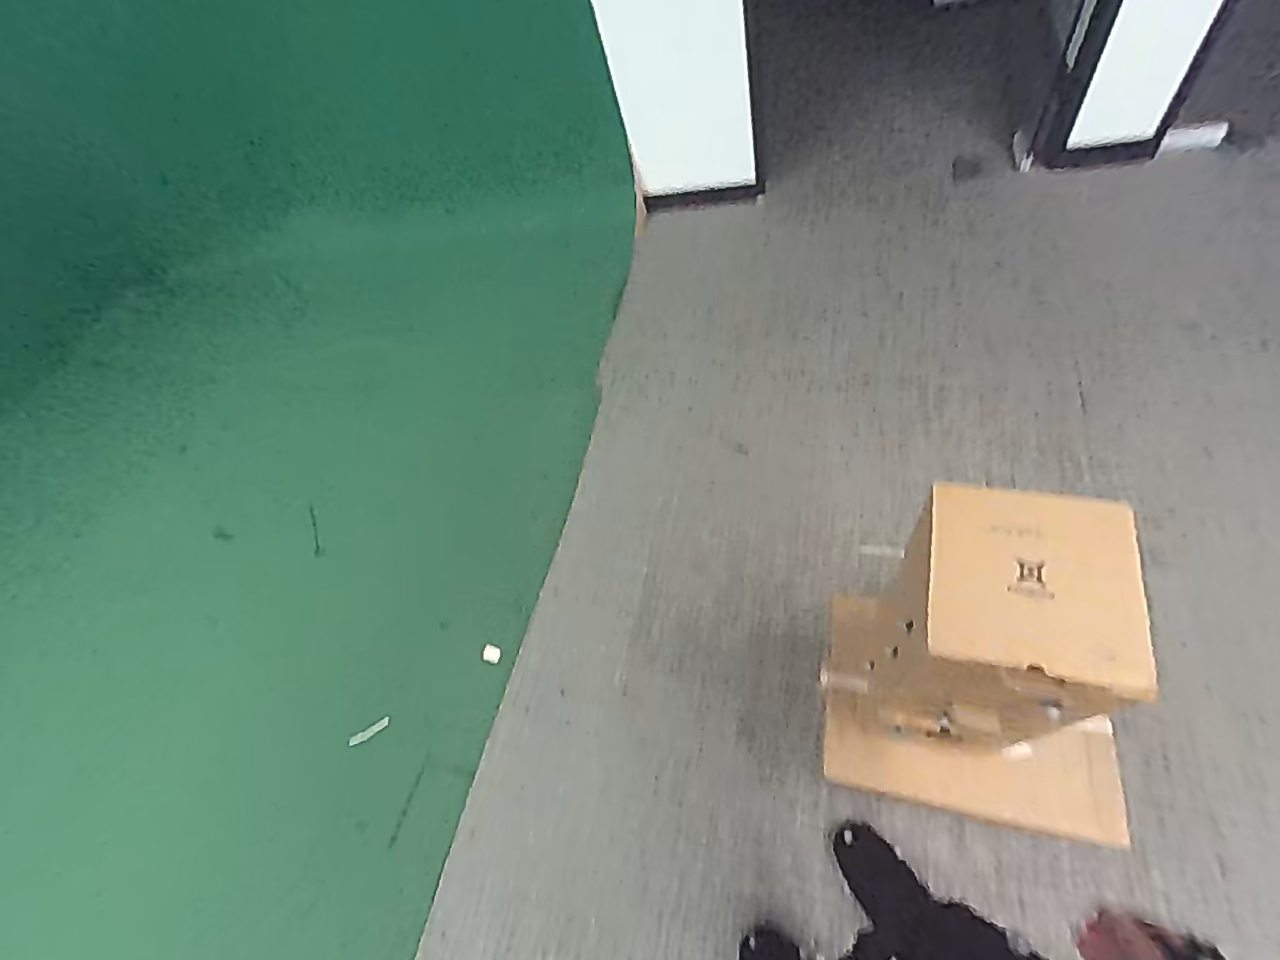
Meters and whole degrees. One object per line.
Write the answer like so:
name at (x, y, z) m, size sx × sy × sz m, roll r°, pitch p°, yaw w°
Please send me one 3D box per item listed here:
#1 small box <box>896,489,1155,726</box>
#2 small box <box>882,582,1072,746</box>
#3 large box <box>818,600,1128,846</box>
small box at (0.364, 0.133, 0.547) m, size 0.168 × 0.176 × 0.179 m, roll 7°, pitch 61°, yaw 19°
small box at (0.409, 0.213, 0.681) m, size 0.168 × 0.176 × 0.179 m, roll 9°, pitch 62°, yaw 21°
large box at (0.547, 0.438, 0.994) m, size 0.408 × 0.320 × 0.320 m, roll 4°, pitch 62°, yaw 18°
